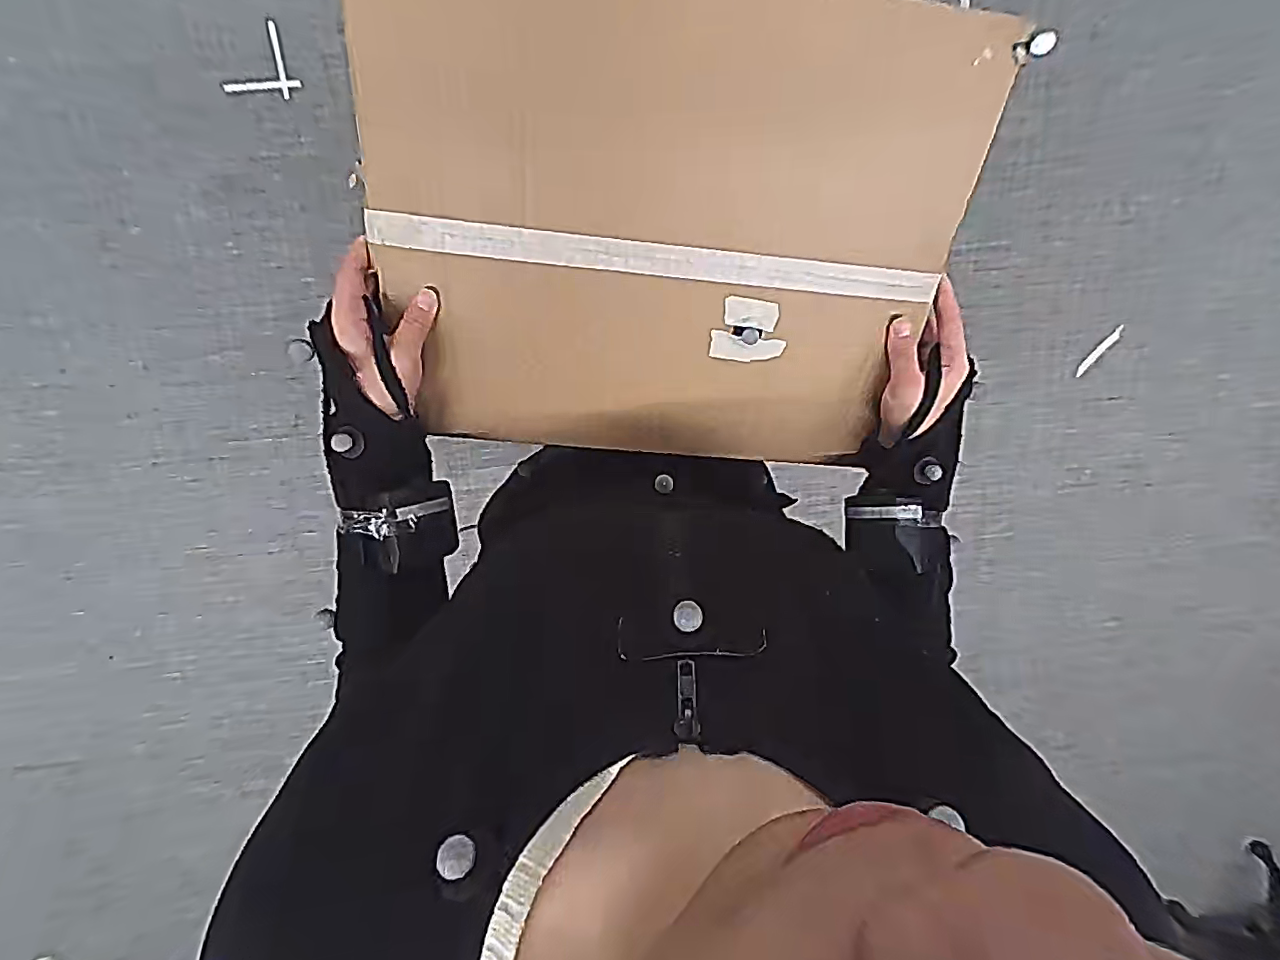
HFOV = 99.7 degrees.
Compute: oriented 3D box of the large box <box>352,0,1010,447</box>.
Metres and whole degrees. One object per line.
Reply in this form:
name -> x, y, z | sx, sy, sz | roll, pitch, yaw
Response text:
large box -> 0.008, -0.245, 0.515 | 0.408, 0.320, 0.320 | 3, 121, -7
